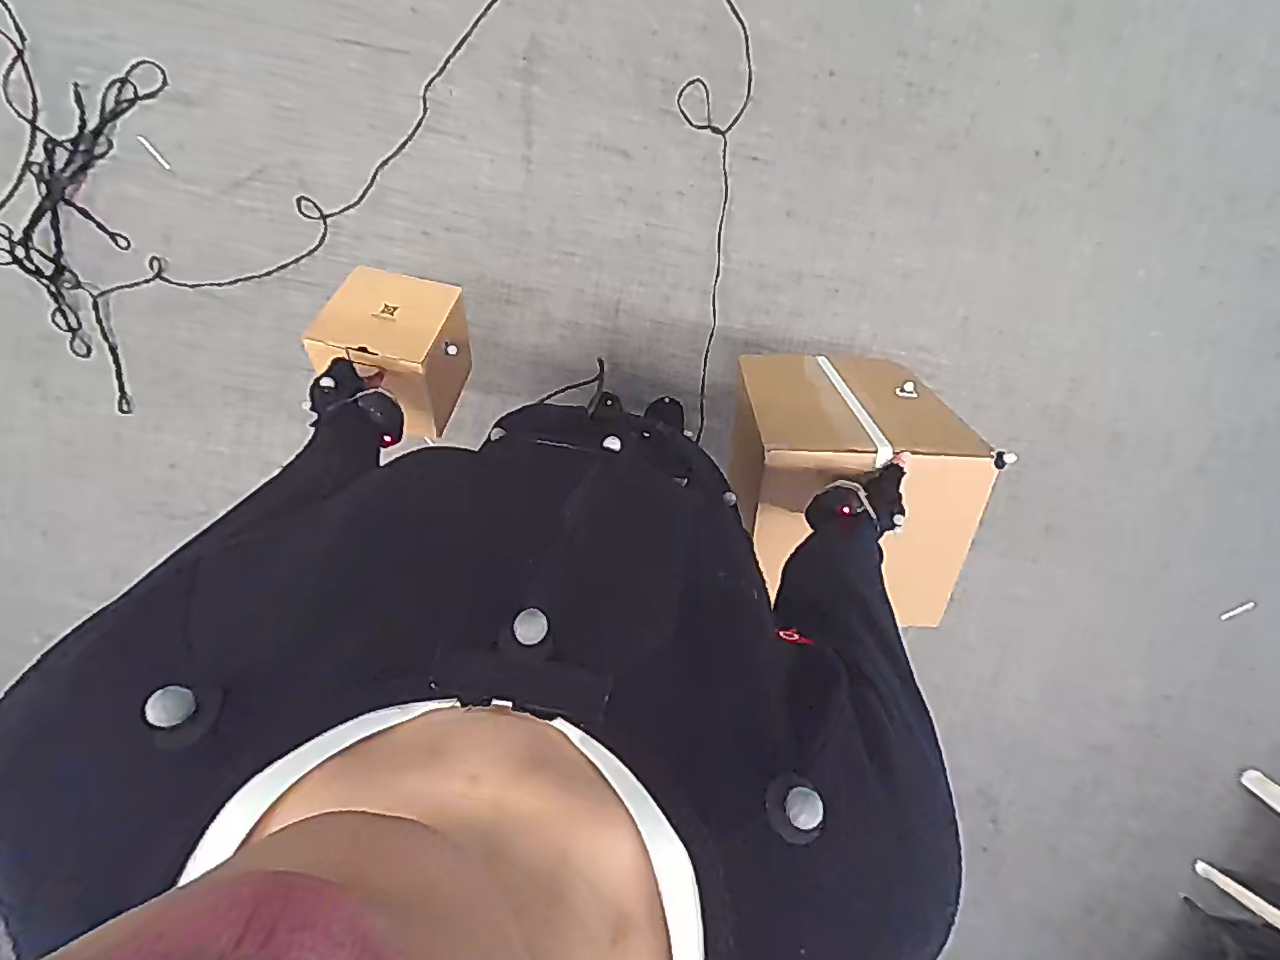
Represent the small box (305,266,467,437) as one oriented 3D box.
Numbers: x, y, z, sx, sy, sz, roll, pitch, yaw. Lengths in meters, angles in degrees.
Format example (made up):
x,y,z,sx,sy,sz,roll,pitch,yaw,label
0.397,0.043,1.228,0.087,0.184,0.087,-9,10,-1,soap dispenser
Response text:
x,y,z,sx,sy,sz,roll,pitch,yaw,label
-0.380,-0.198,0.852,0.168,0.179,0.176,12,145,-3,small box
